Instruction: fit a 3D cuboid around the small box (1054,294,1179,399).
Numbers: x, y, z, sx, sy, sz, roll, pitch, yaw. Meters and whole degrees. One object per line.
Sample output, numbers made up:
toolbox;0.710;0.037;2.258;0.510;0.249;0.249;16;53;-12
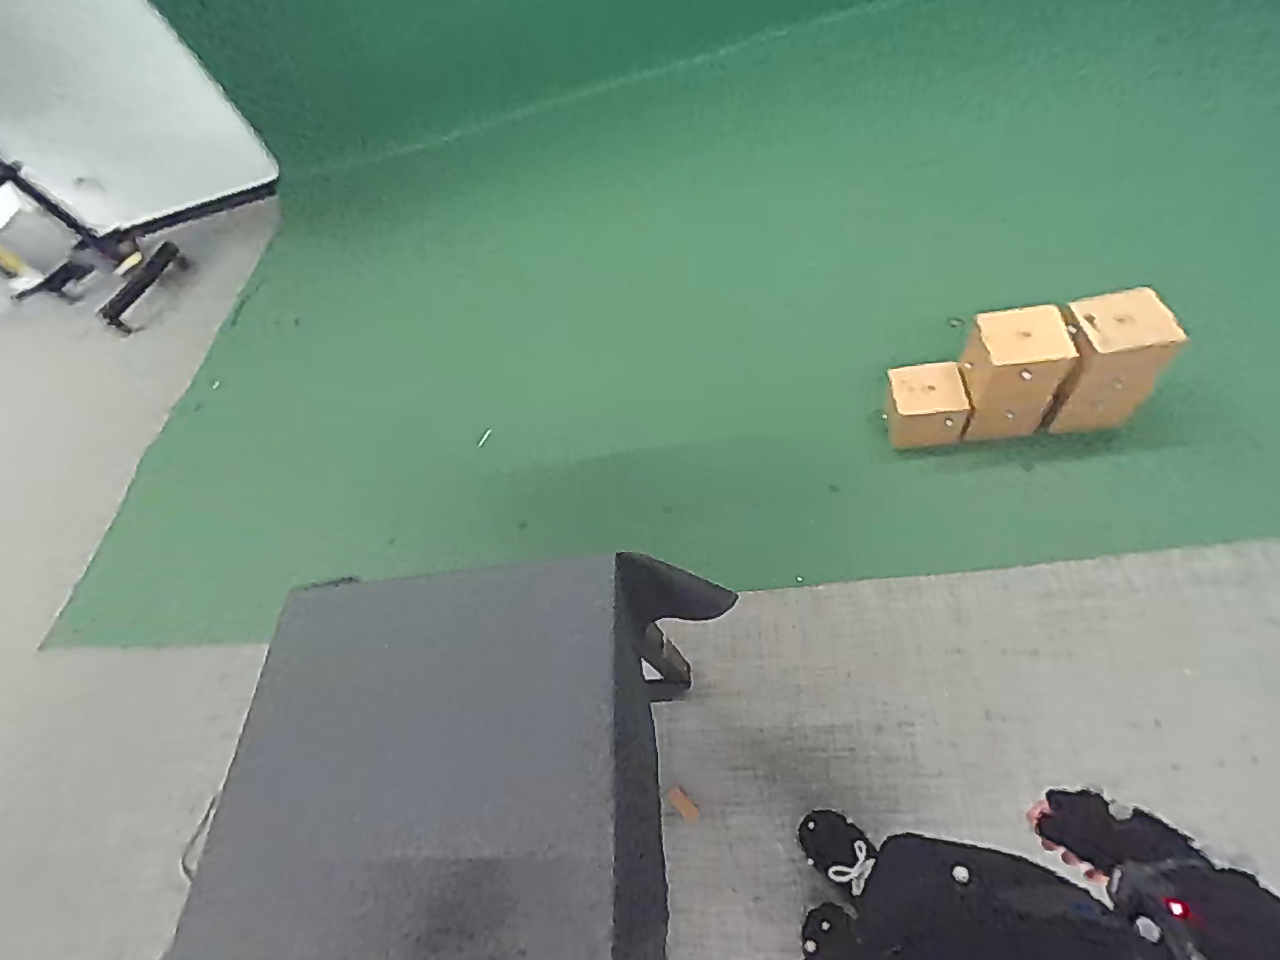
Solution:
small box;1.132;-0.321;1.322;0.179;0.176;0.168;-8;58;11

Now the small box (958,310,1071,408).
small box;0.937;-0.300;1.371;0.179;0.176;0.168;-5;59;16
